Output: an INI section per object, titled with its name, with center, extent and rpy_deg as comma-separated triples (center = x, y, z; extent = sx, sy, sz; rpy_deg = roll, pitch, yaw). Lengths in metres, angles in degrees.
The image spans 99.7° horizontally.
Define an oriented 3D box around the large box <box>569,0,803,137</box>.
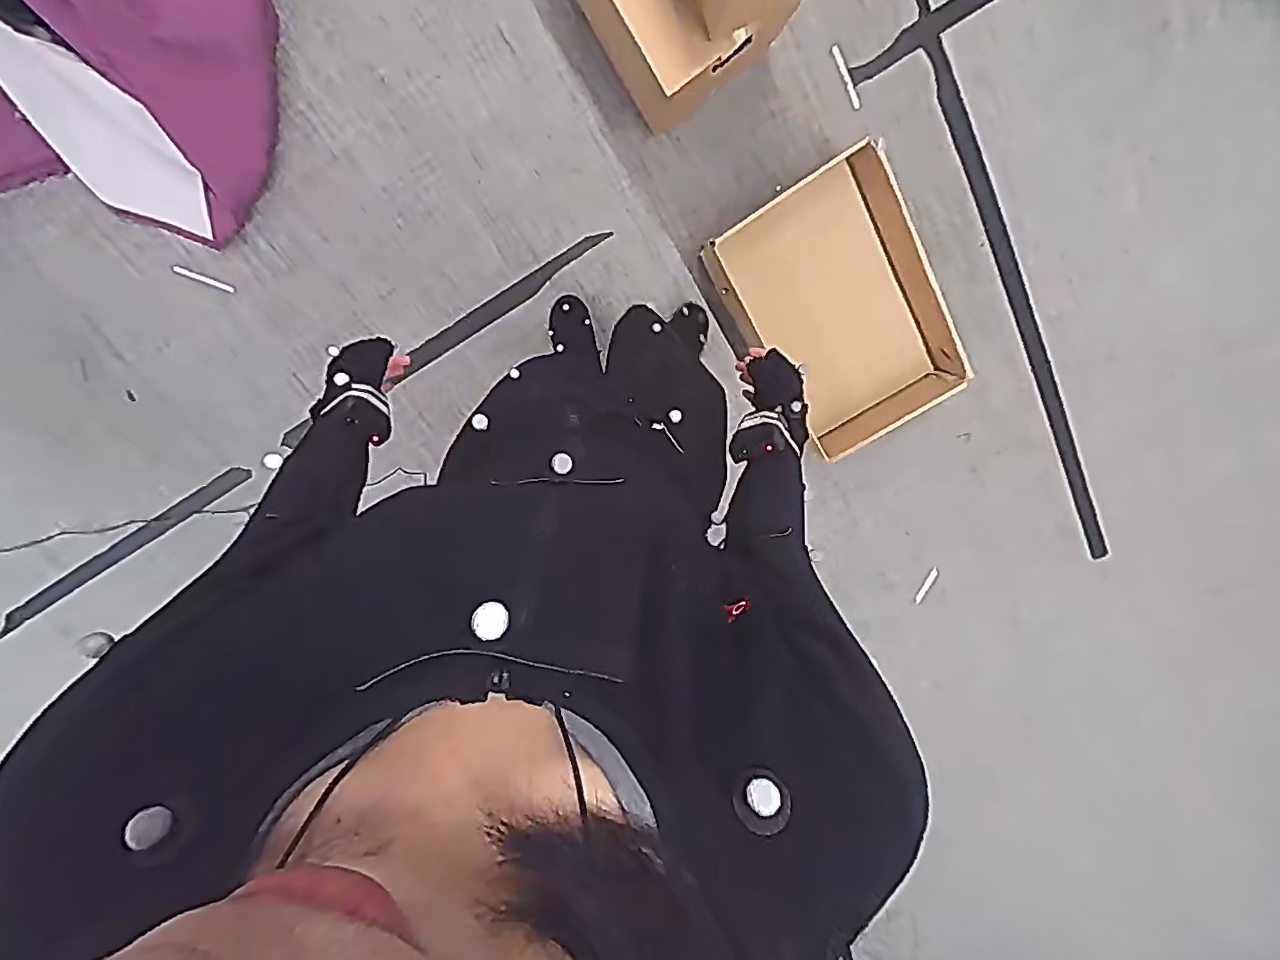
[large box]
center = 0.053, -0.971, 1.032
extent = 0.320, 0.320, 0.408
rpy_deg = -34, 110, 10
